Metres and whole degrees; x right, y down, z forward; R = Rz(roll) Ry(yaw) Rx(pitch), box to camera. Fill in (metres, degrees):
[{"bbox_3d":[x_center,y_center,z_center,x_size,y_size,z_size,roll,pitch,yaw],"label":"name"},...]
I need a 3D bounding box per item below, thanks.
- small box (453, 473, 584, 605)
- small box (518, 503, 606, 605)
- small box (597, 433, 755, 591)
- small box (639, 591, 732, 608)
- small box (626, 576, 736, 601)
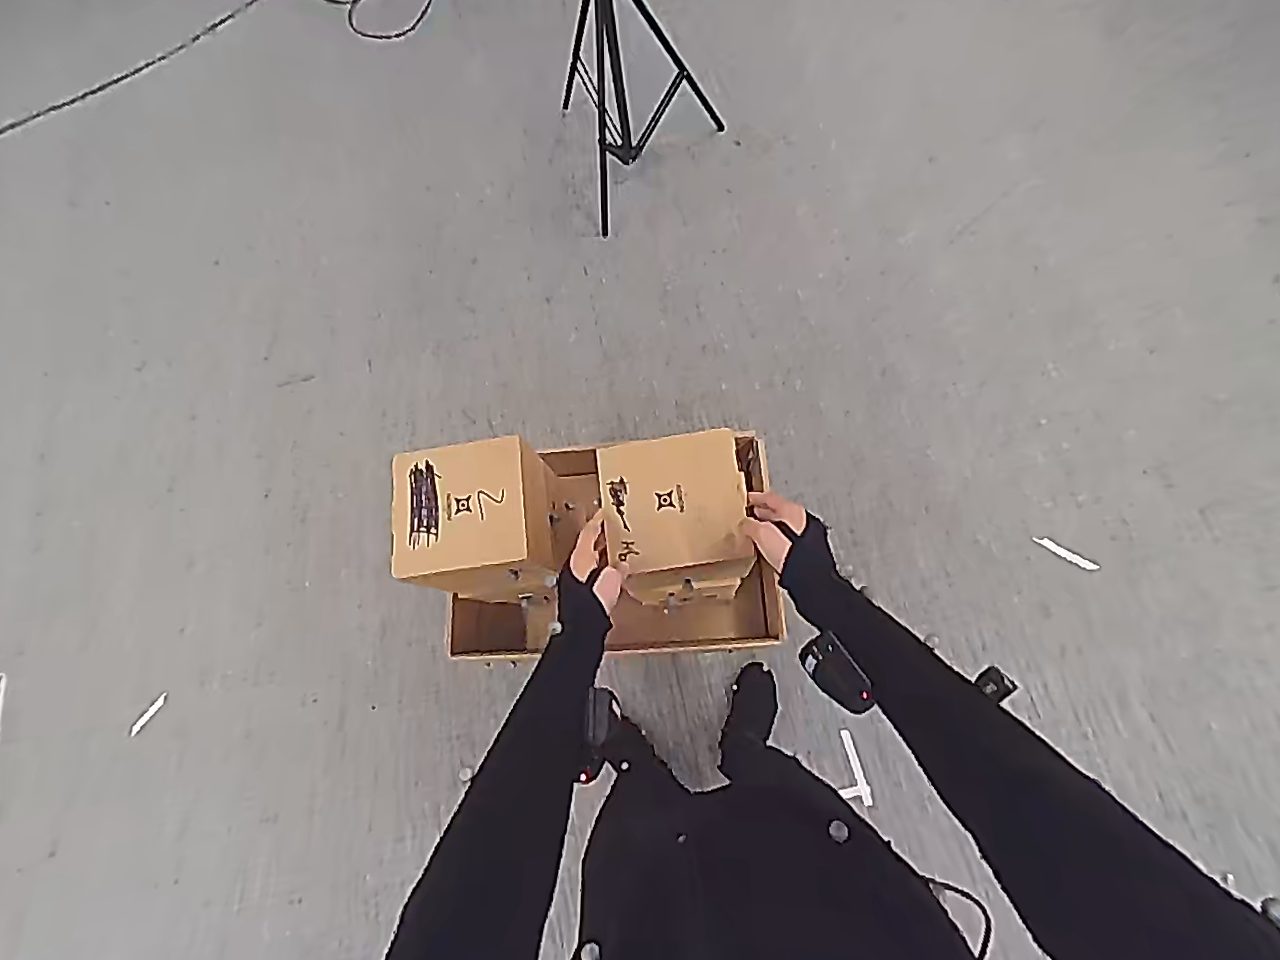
[{"bbox_3d":[-0.198,0.106,0.909,0.168,0.176,0.179,-10,73,5],"label":"small box"},{"bbox_3d":[-0.172,0.152,1.064,0.179,0.176,0.168,-7,74,3],"label":"small box"},{"bbox_3d":[0.047,0.052,0.728,0.179,0.176,0.168,-8,72,4],"label":"small box"},{"bbox_3d":[0.082,0.150,1.037,0.168,0.176,0.179,-7,72,5],"label":"small box"},{"bbox_3d":[0.064,0.102,0.883,0.168,0.176,0.179,-7,72,5],"label":"small box"}]
